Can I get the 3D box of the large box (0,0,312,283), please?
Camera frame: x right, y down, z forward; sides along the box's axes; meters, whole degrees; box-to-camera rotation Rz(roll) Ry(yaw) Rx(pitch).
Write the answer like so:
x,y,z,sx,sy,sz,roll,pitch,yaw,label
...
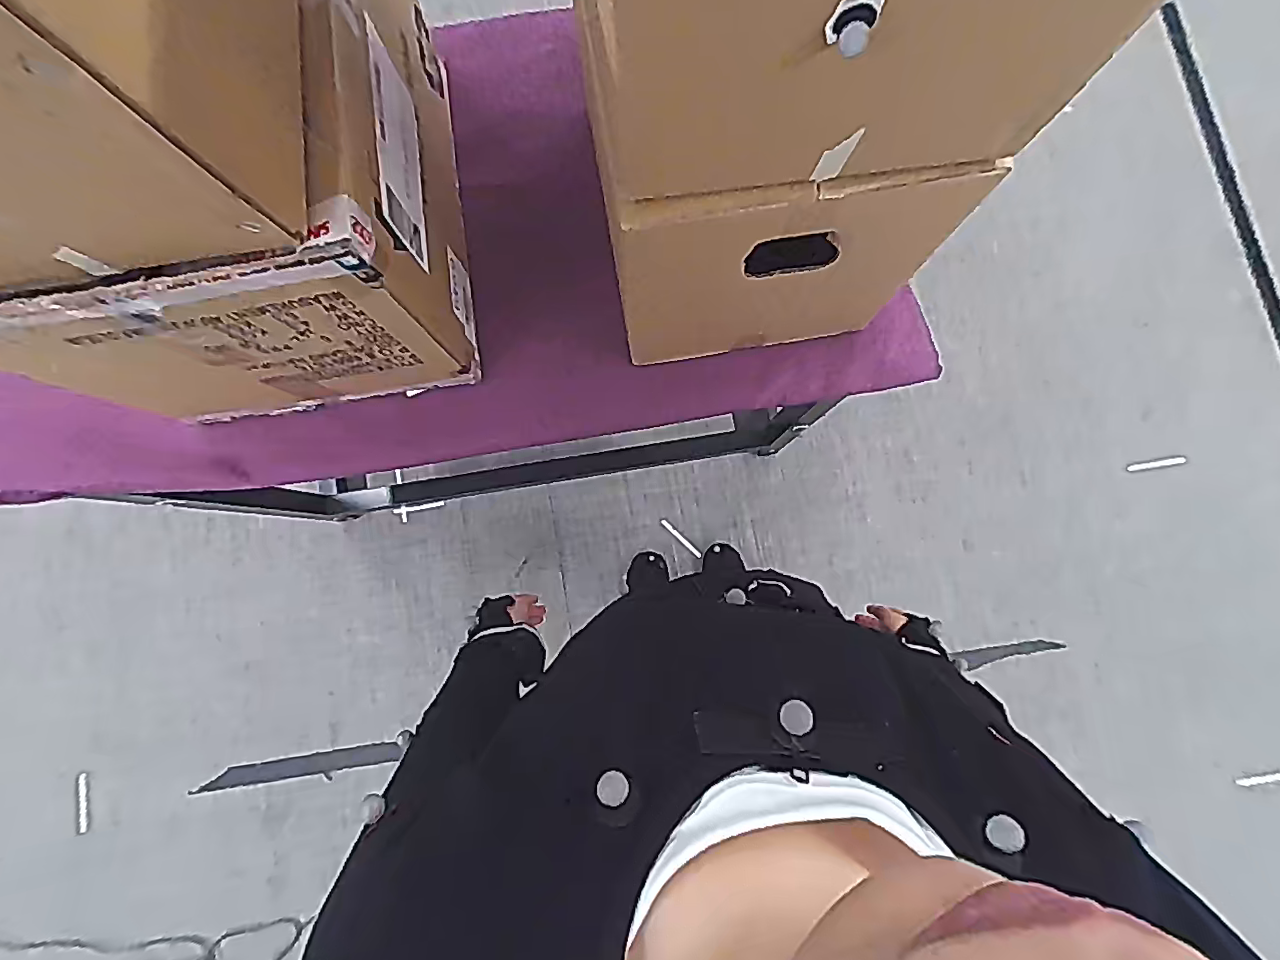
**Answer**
x,y,z,sx,sy,sz,roll,pitch,yaw,label
-0.430,-0.380,0.291,0.320,0.320,0.408,-8,83,4,large box
